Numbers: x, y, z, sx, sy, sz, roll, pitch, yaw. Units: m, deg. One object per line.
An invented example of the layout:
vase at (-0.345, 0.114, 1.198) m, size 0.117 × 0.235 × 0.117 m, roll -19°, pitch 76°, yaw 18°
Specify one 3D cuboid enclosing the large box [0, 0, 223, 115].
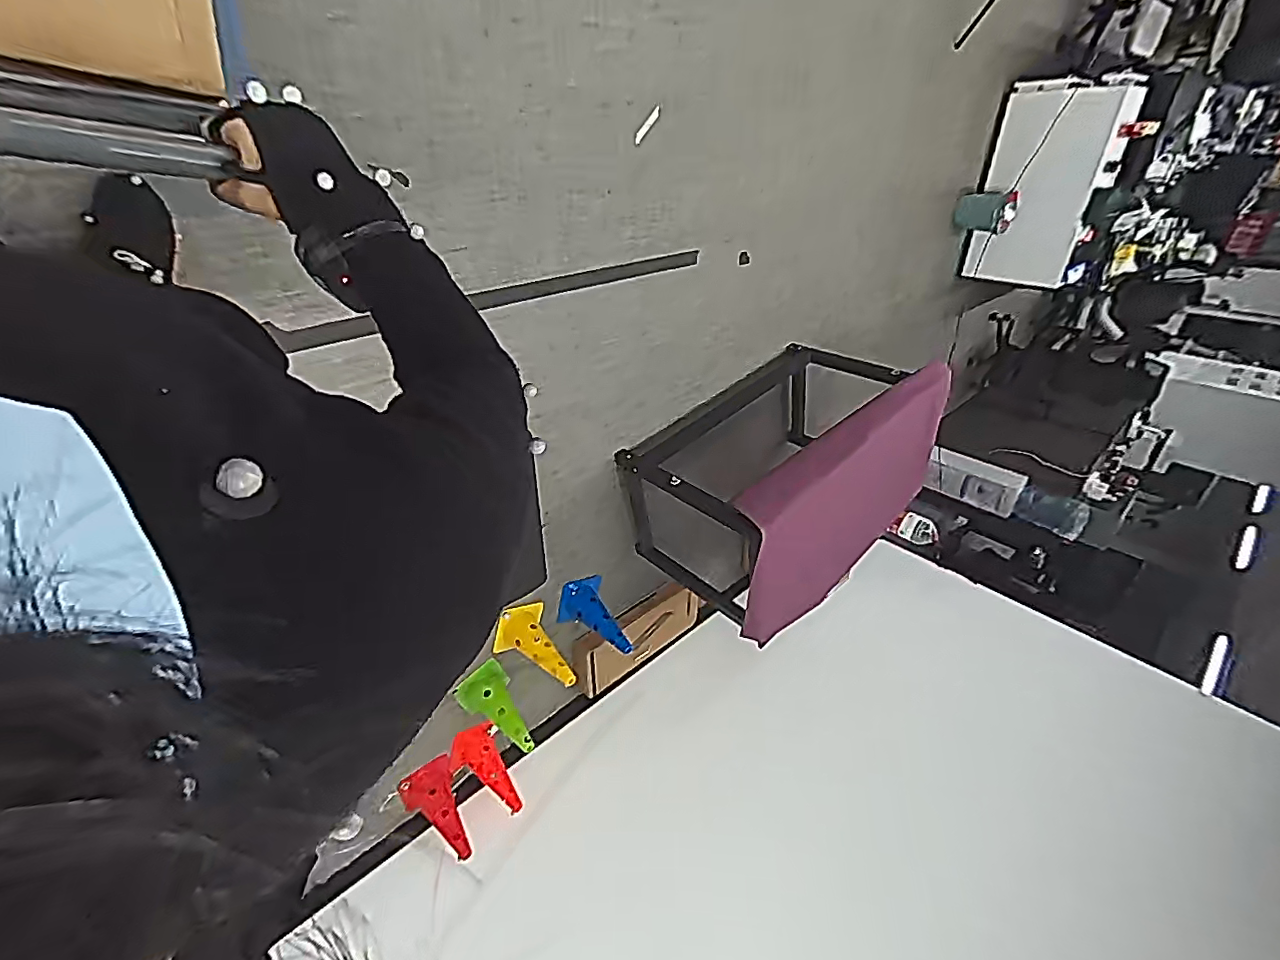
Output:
large box at (-0.772, -0.639, 0.607) m, size 0.408 × 0.320 × 0.320 m, roll -16°, pitch 124°, yaw -41°
